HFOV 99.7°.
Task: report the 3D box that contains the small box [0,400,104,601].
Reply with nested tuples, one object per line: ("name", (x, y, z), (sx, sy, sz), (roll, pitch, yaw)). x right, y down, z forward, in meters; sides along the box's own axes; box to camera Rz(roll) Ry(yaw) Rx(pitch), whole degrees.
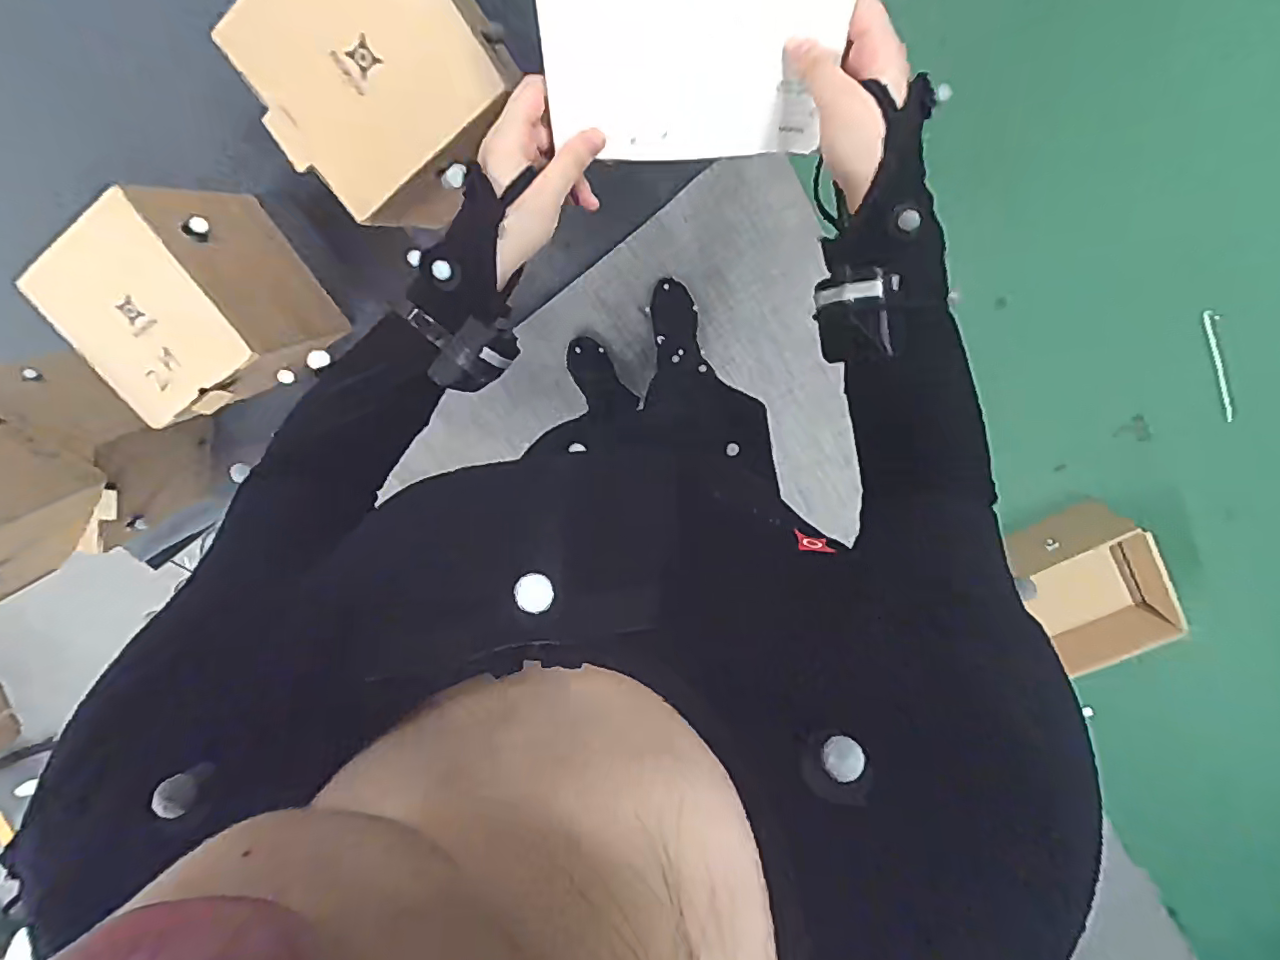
("small box", (-0.710, 0.035, 0.544), (0.168, 0.176, 0.179), (40, 113, -14))

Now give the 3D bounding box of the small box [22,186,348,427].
("small box", (-0.477, -0.190, 0.597), (0.168, 0.176, 0.179), (-27, 110, 17))

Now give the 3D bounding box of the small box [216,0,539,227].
("small box", (-0.211, -0.359, 0.493), (0.179, 0.176, 0.168), (-30, 109, 19))
